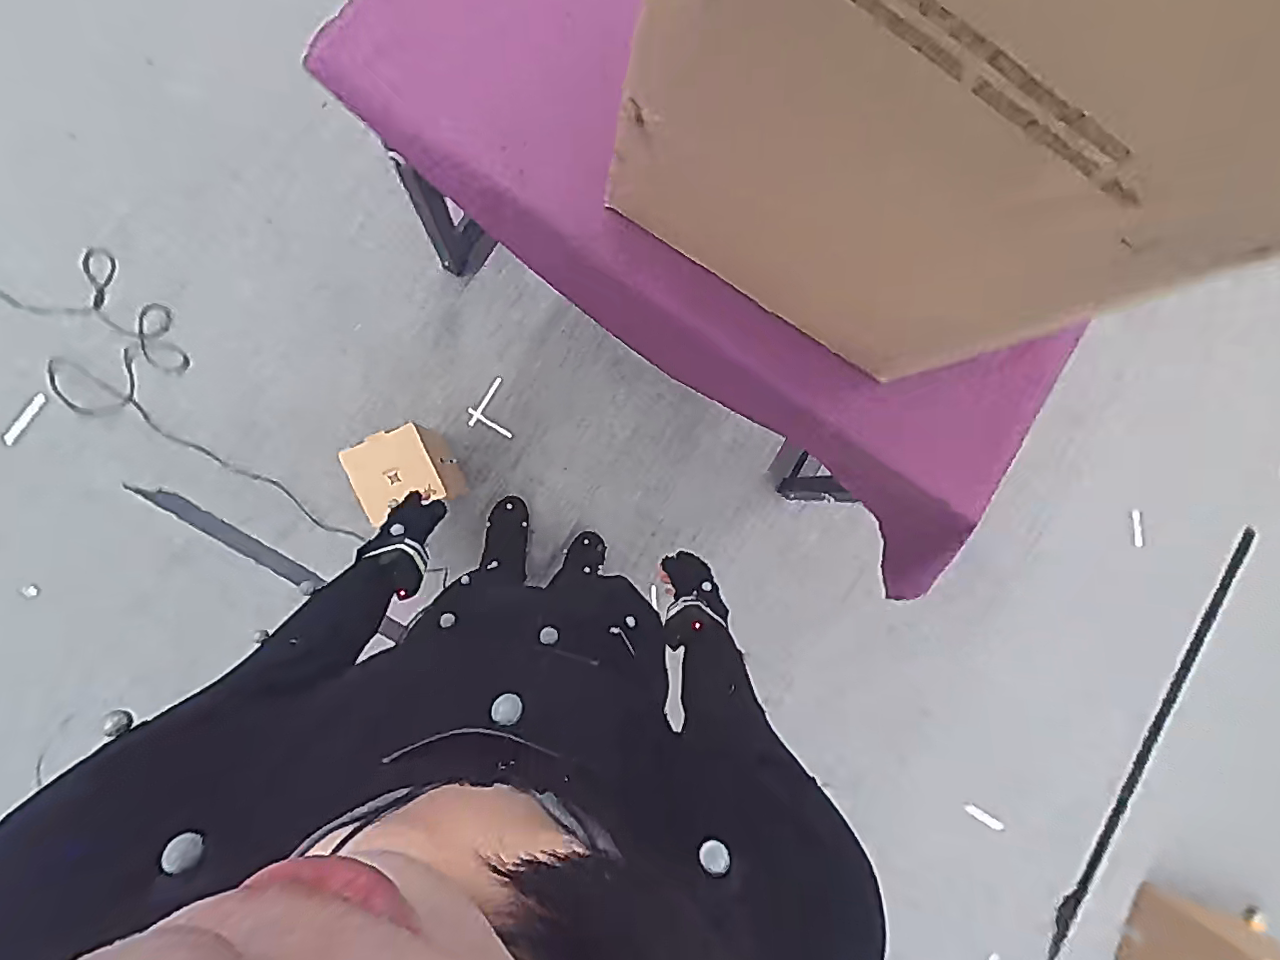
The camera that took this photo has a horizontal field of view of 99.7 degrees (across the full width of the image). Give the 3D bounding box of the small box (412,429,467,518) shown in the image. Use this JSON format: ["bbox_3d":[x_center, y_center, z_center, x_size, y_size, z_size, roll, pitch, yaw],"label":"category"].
[{"bbox_3d":[-0.558,-0.010,1.364,0.168,0.176,0.179,-27,94,-9],"label":"small box"}]

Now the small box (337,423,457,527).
[{"bbox_3d":[-0.529,-0.008,1.202,0.168,0.176,0.179,-25,93,-9],"label":"small box"}]
